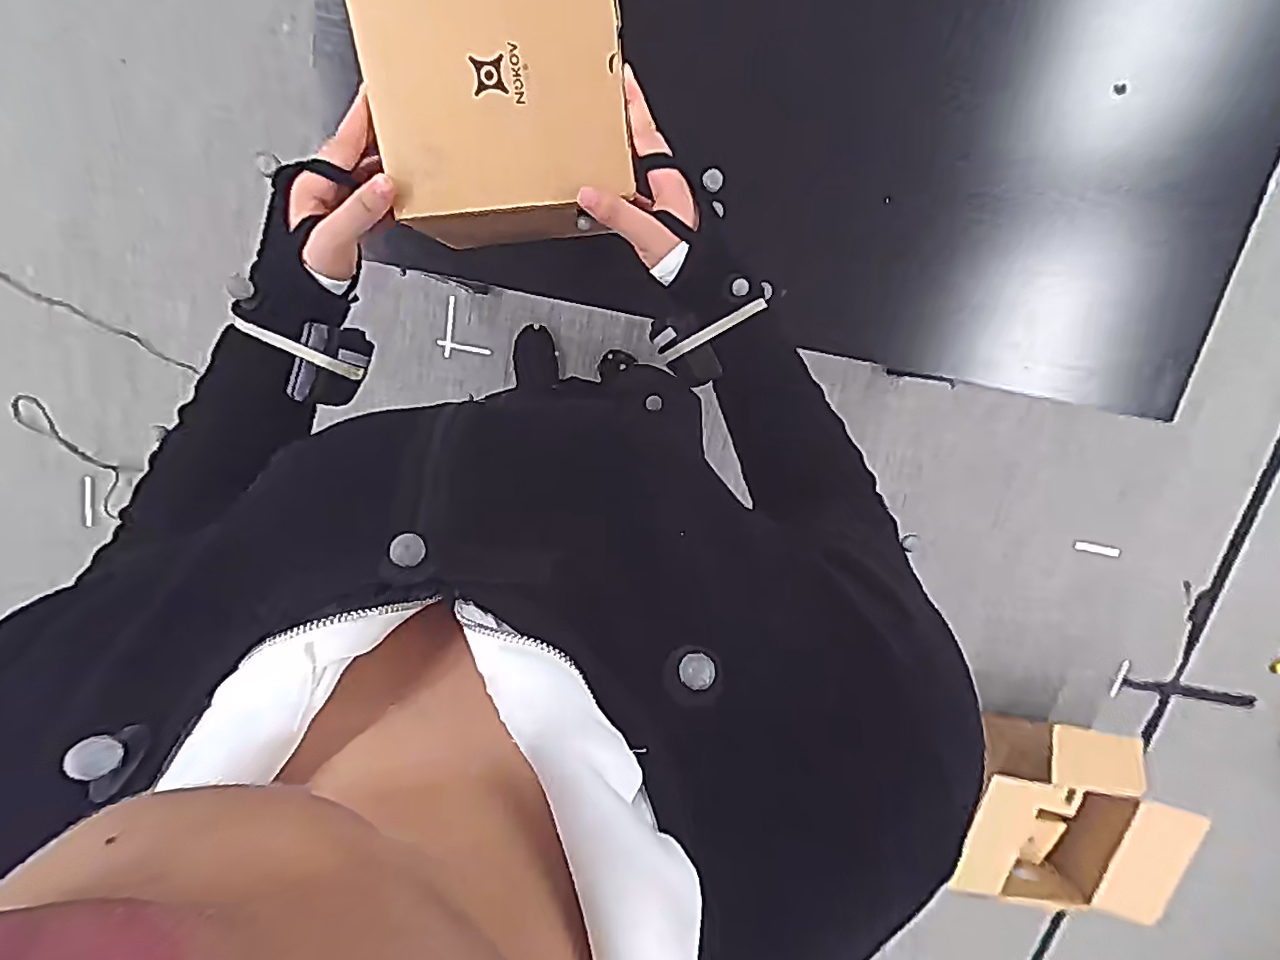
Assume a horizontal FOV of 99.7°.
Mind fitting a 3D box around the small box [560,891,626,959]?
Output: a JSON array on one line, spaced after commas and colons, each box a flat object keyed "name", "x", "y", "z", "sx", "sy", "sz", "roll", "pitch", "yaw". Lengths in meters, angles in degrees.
[{"name": "small box", "x": -0.153, "y": 1.486, "z": 1.758, "sx": 0.179, "sy": 0.176, "sz": 0.168, "roll": 15, "pitch": 100, "yaw": -6}]

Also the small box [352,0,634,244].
[{"name": "small box", "x": -0.105, "y": -0.300, "z": 0.448, "sx": 0.179, "sy": 0.176, "sz": 0.168, "roll": -8, "pitch": 108, "yaw": -4}]
